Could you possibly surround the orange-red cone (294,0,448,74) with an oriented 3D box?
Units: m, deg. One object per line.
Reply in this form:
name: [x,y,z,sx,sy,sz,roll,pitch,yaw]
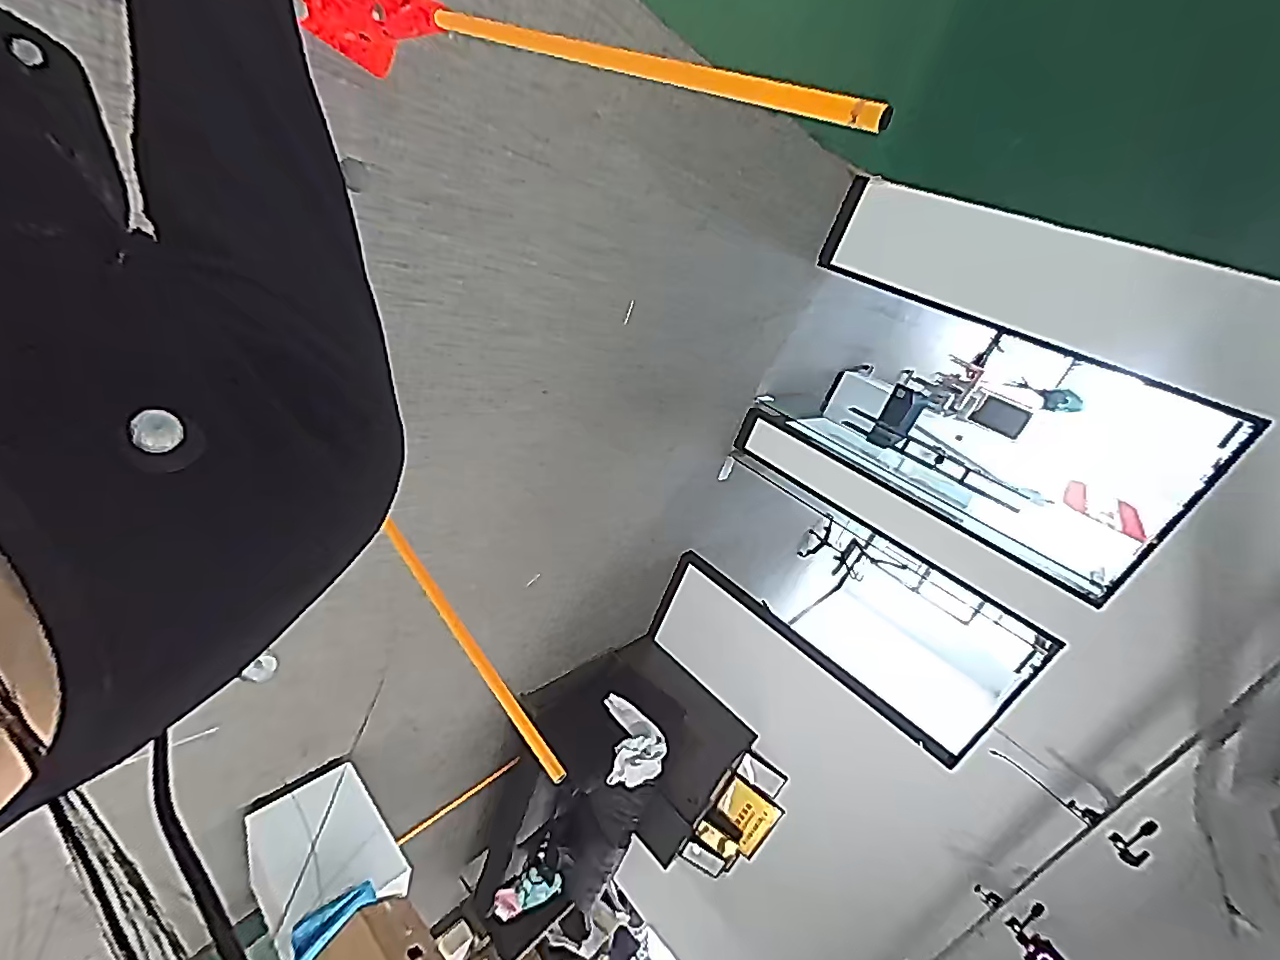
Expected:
orange-red cone: [-0.475,-0.910,1.041,0.198,0.360,0.199,6,117,-56]
